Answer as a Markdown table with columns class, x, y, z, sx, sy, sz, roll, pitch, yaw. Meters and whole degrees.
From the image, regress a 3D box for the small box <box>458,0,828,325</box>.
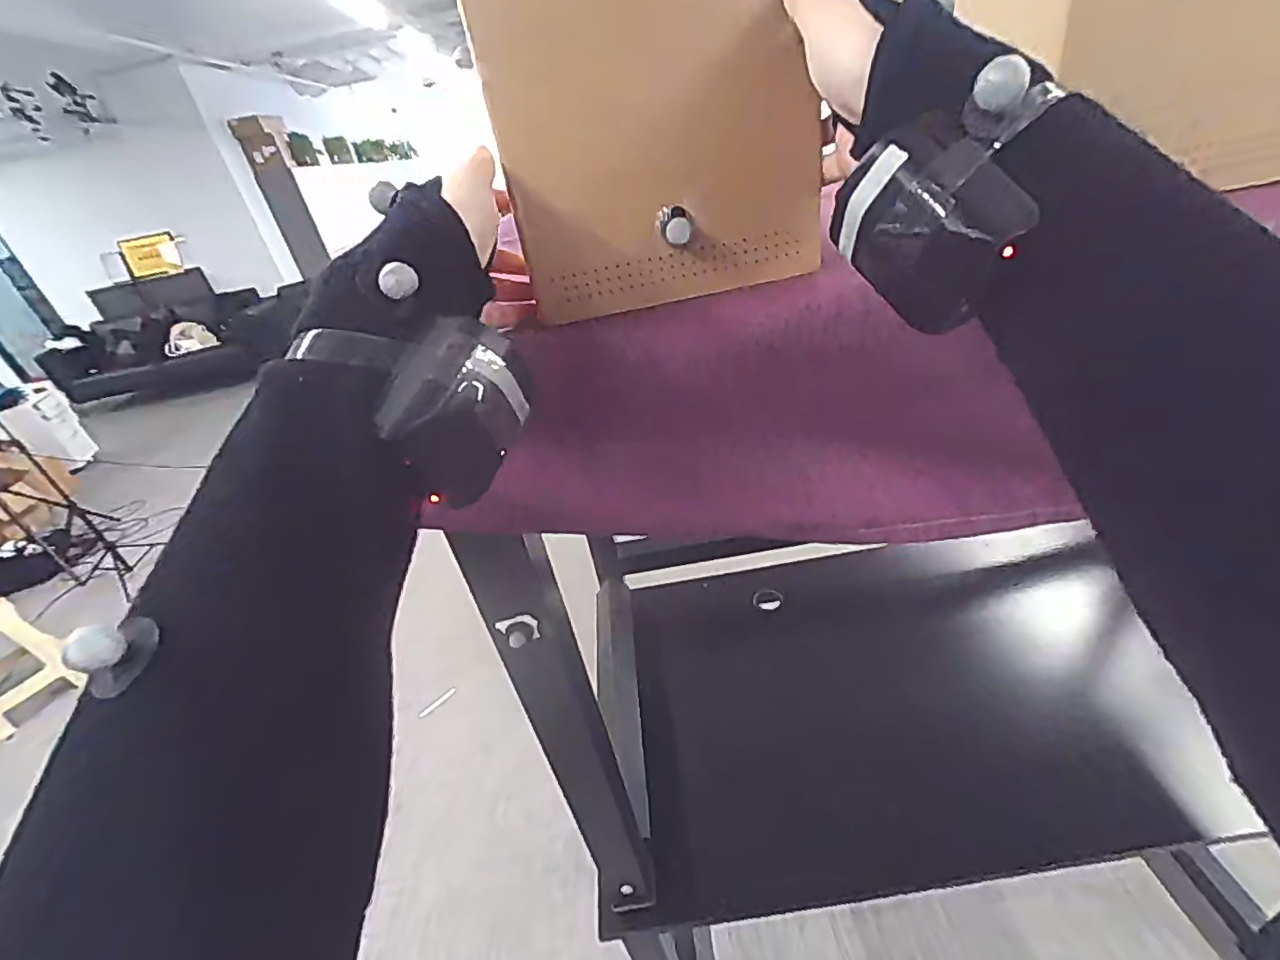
| class | x | y | z | sx | sy | sz | roll | pitch | yaw |
| --- | --- | --- | --- | --- | --- | --- | --- | --- | --- |
| small box | 0.000 | -0.214 | 0.345 | 0.179 | 0.176 | 0.168 | -13 | 31 | -4 |

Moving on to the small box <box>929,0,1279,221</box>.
| class | x | y | z | sx | sy | sz | roll | pitch | yaw |
| --- | --- | --- | --- | --- | --- | --- | --- | --- | --- |
| small box | 0.308 | -0.277 | 0.348 | 0.179 | 0.176 | 0.168 | -8 | 32 | 5 |
